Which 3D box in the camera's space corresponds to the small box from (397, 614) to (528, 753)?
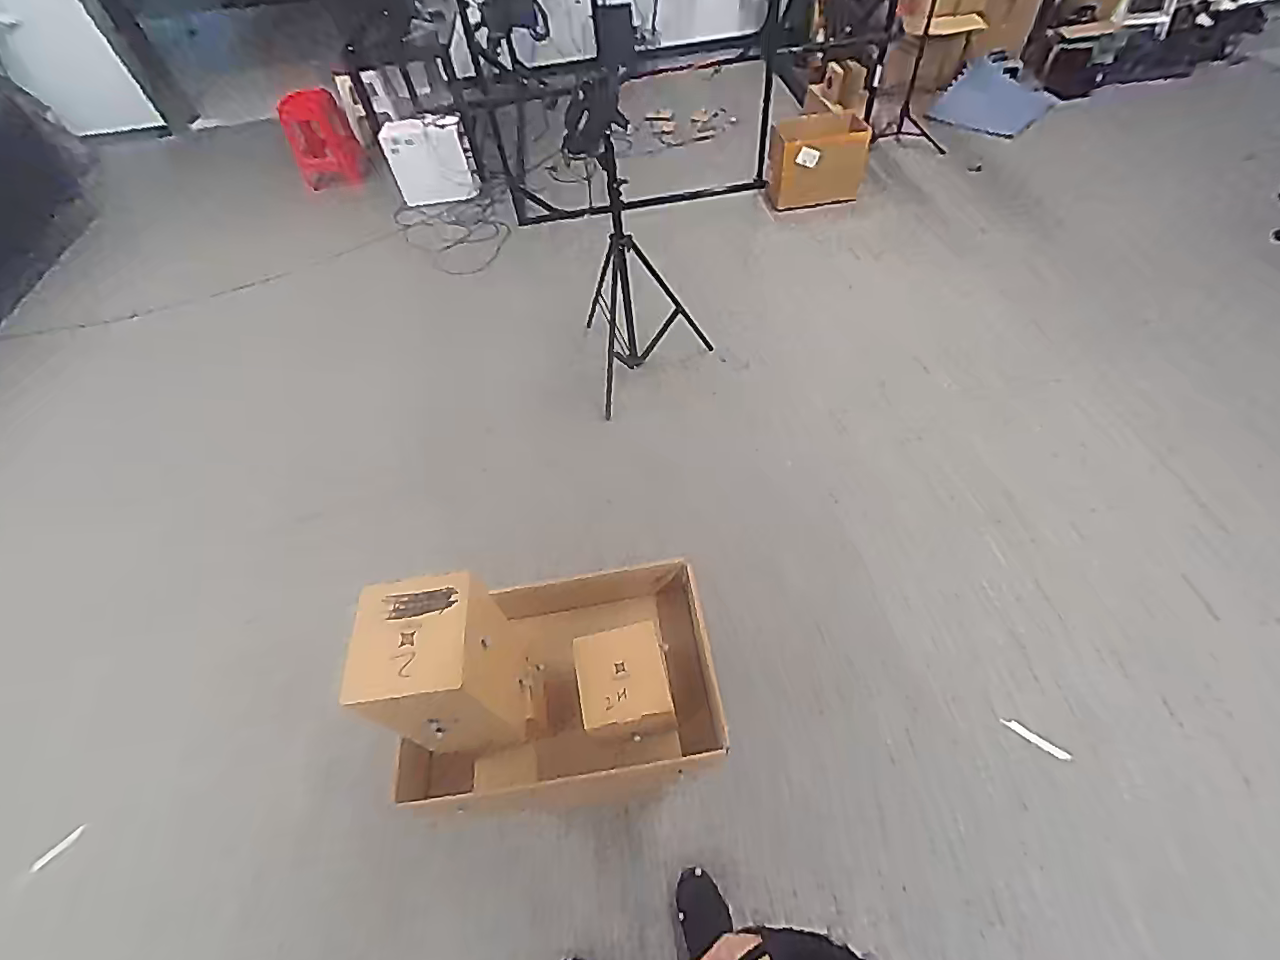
[{"bbox_3d":[-0.300,0.360,0.953,0.168,0.176,0.179,-9,52,0],"label":"small box"}]
